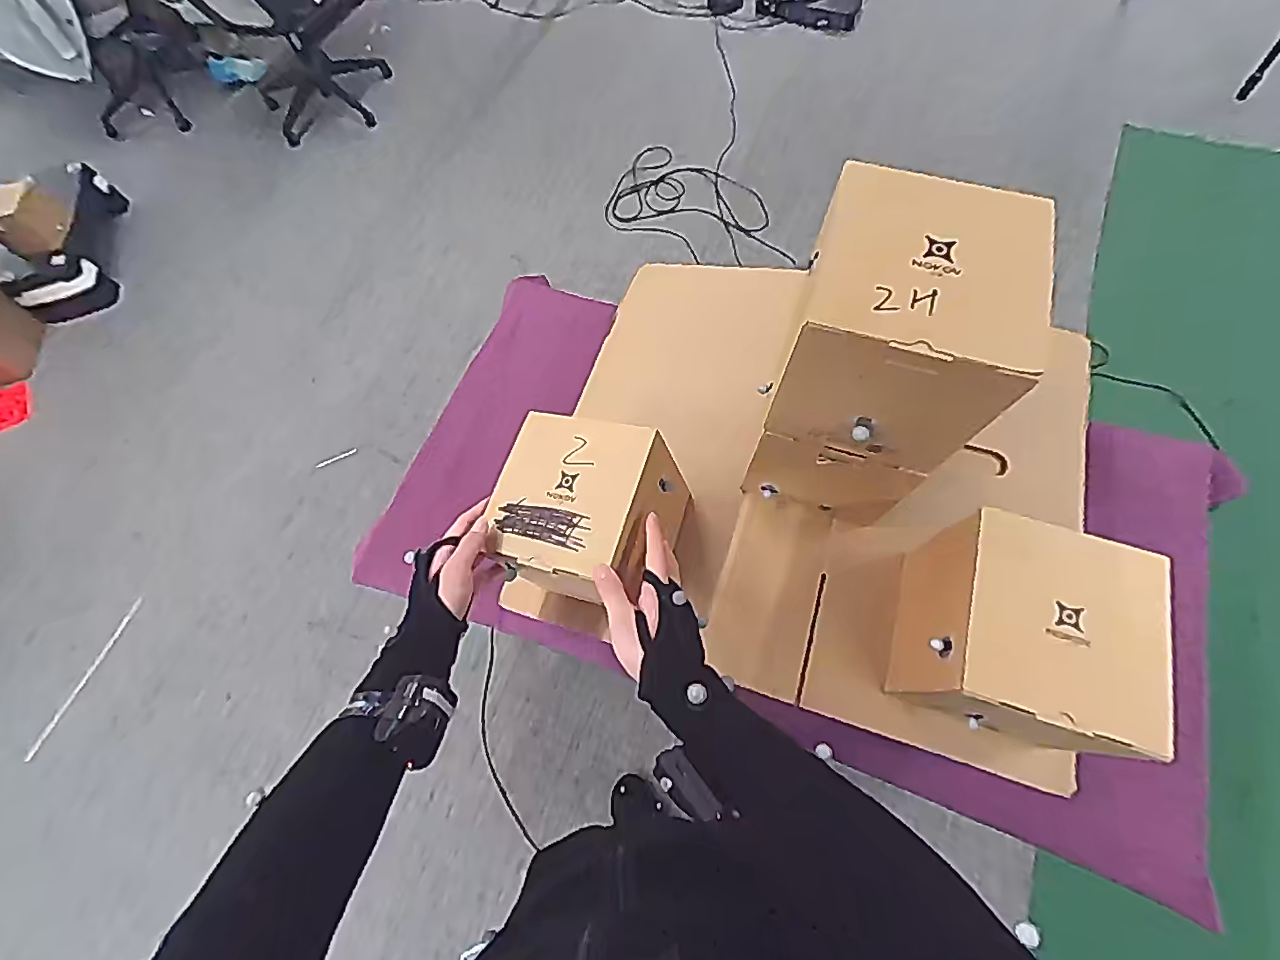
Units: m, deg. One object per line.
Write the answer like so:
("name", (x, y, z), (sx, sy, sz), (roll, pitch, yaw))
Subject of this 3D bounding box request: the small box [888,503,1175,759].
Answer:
("small box", (0.370, 0.149, 0.538), (0.168, 0.176, 0.179), (17, 70, 8))

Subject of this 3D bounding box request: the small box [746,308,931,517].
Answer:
("small box", (0.228, -0.075, 0.629), (0.168, 0.176, 0.179), (16, 69, 8))

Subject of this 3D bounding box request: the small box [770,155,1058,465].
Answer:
("small box", (0.224, -0.139, 0.478), (0.168, 0.176, 0.179), (16, 70, 8))
